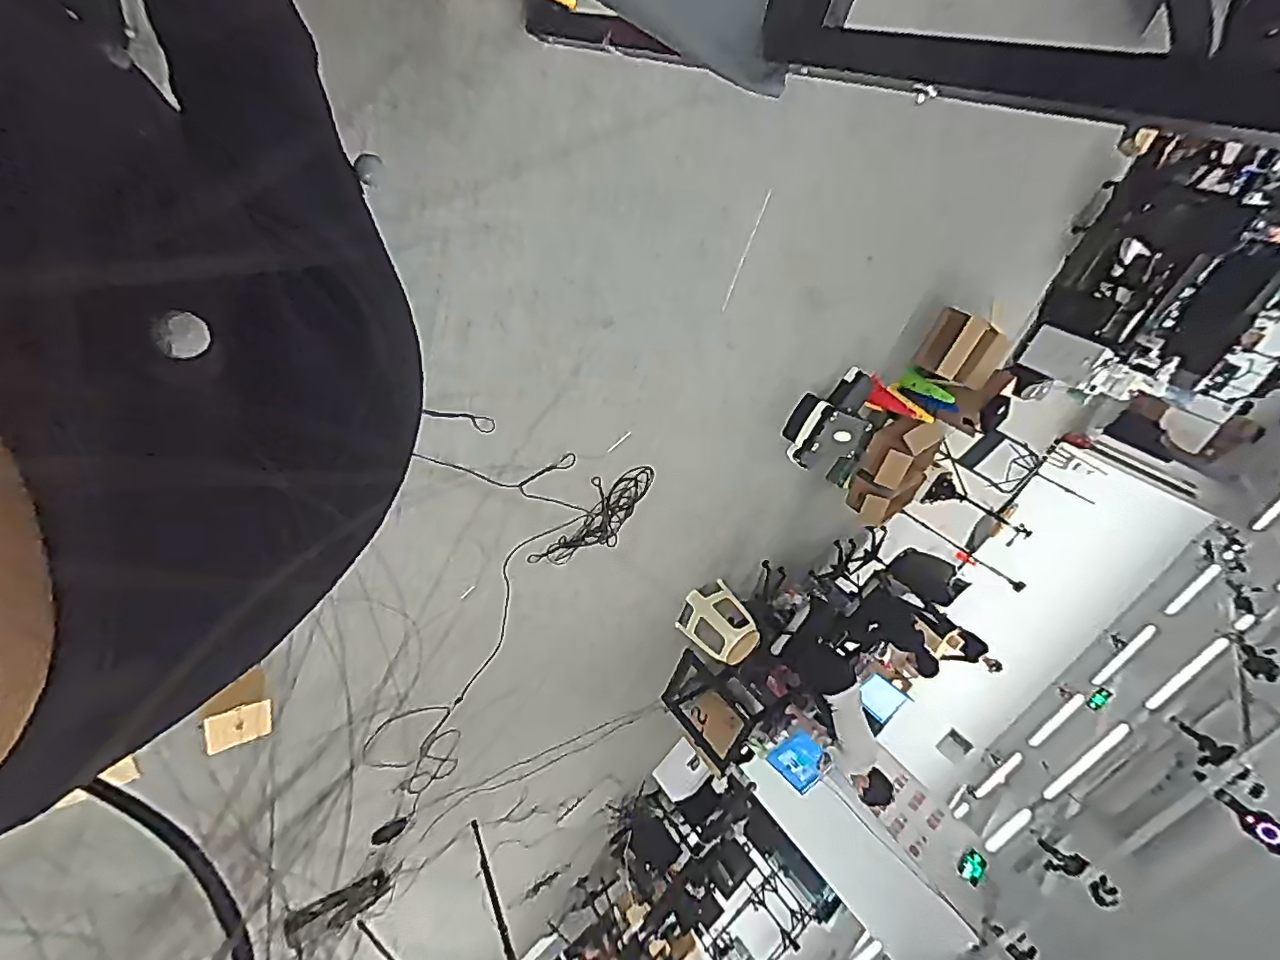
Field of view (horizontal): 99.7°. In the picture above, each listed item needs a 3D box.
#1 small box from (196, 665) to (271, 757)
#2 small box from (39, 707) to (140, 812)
[{"bbox_3d":[-1.280,0.721,1.704,0.168,0.176,0.179,-10,129,-42],"label":"small box"},{"bbox_3d":[-1.513,0.756,1.489,0.168,0.176,0.179,-14,132,-38],"label":"small box"}]
